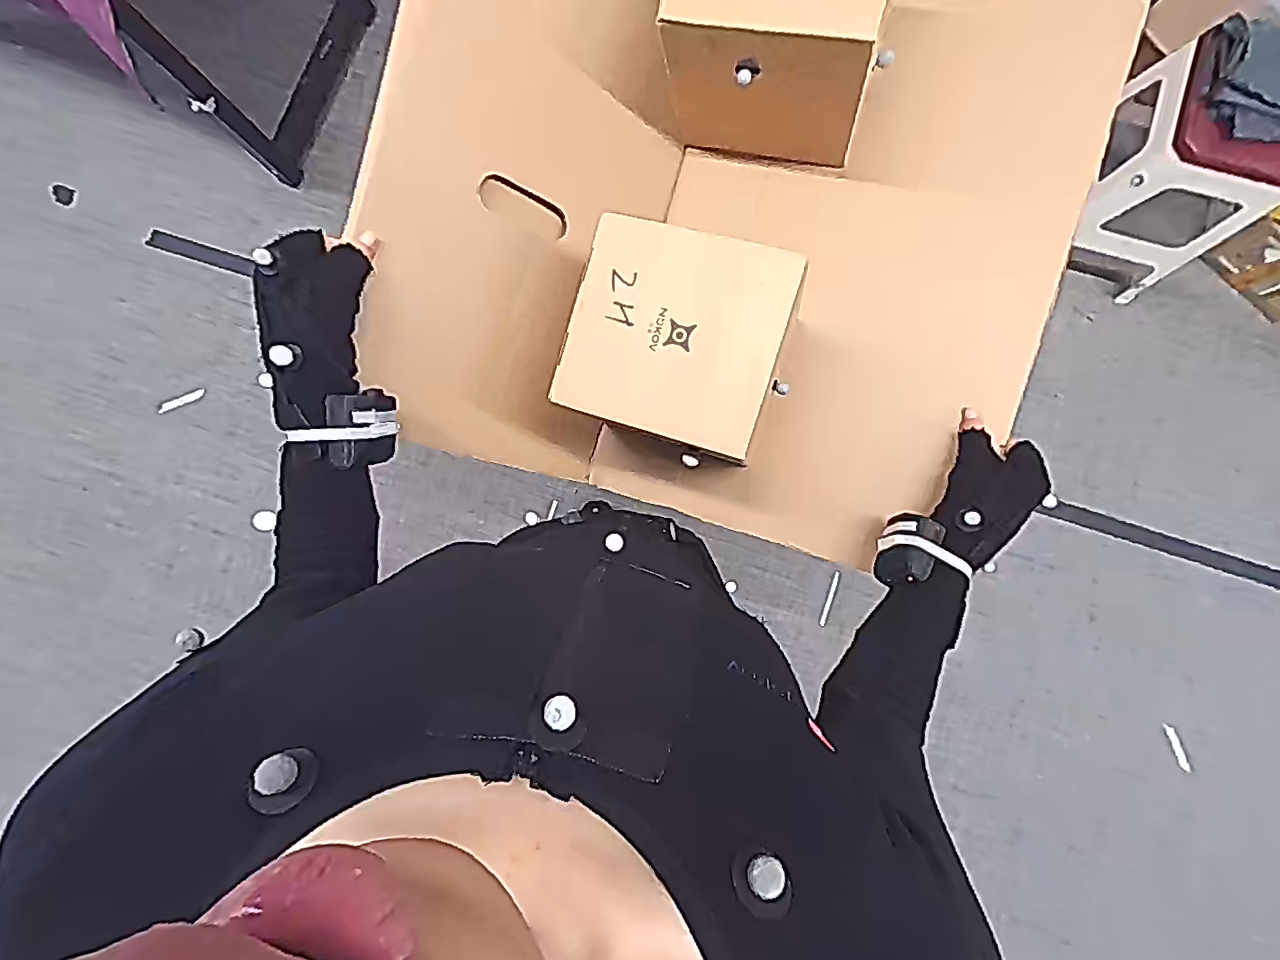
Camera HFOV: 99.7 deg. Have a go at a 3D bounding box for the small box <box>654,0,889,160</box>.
[{"bbox_3d":[0.132,-0.431,0.503,0.179,0.176,0.168,16,94,12],"label":"small box"}]

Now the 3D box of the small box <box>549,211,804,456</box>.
[{"bbox_3d":[0.043,-0.125,0.523,0.179,0.176,0.168,19,94,13],"label":"small box"}]
